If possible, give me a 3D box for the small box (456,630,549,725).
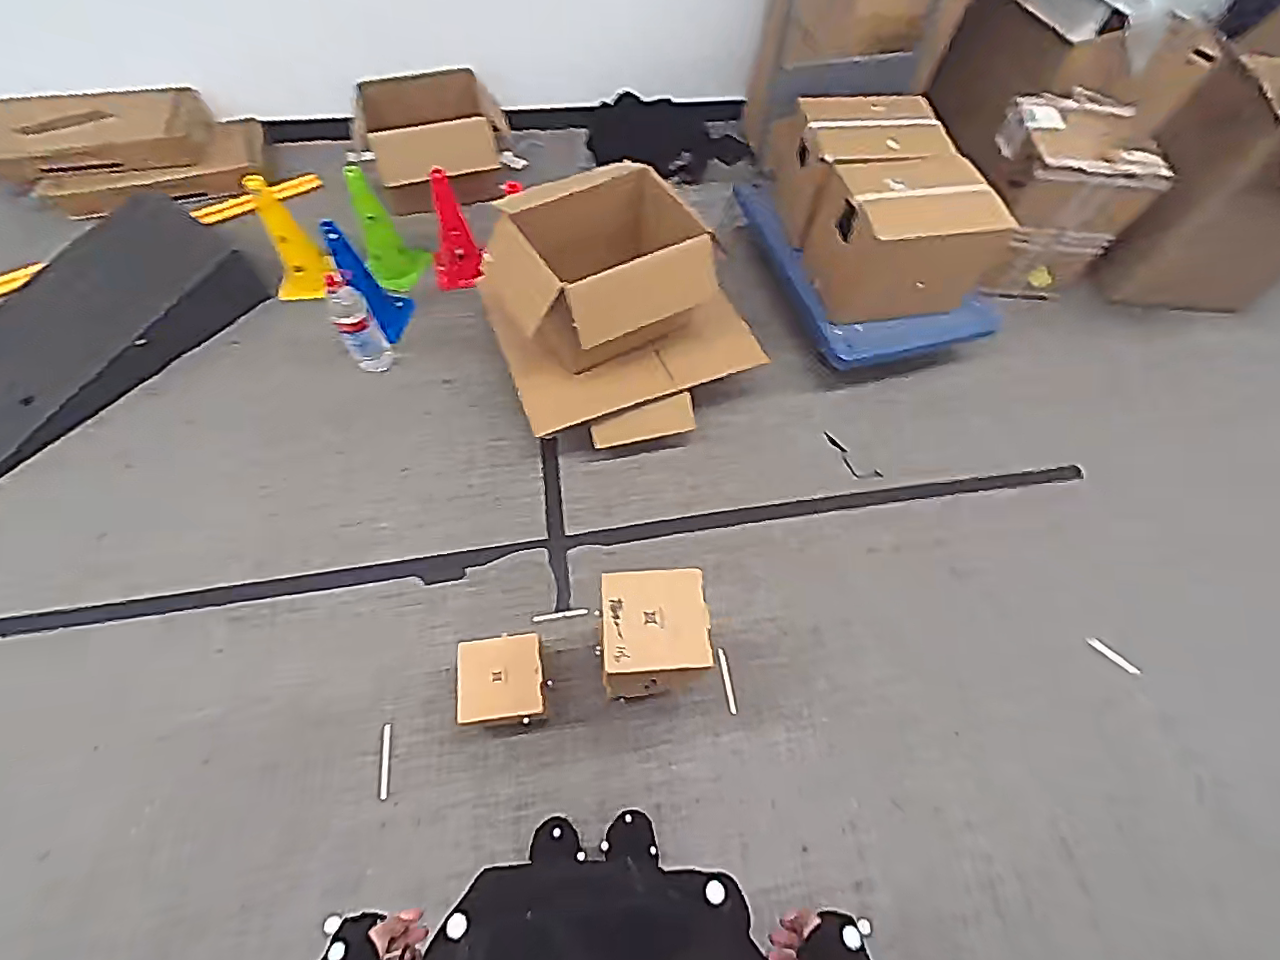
[{"bbox_3d":[-0.304,0.447,1.216,0.179,0.176,0.168,-6,63,-7],"label":"small box"}]

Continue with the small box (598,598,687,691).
[{"bbox_3d":[0.009,0.332,1.109,0.179,0.176,0.168,-5,64,-7],"label":"small box"}]

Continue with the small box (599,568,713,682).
[{"bbox_3d":[0.019,0.261,0.962,0.179,0.176,0.168,-2,63,-6],"label":"small box"}]
